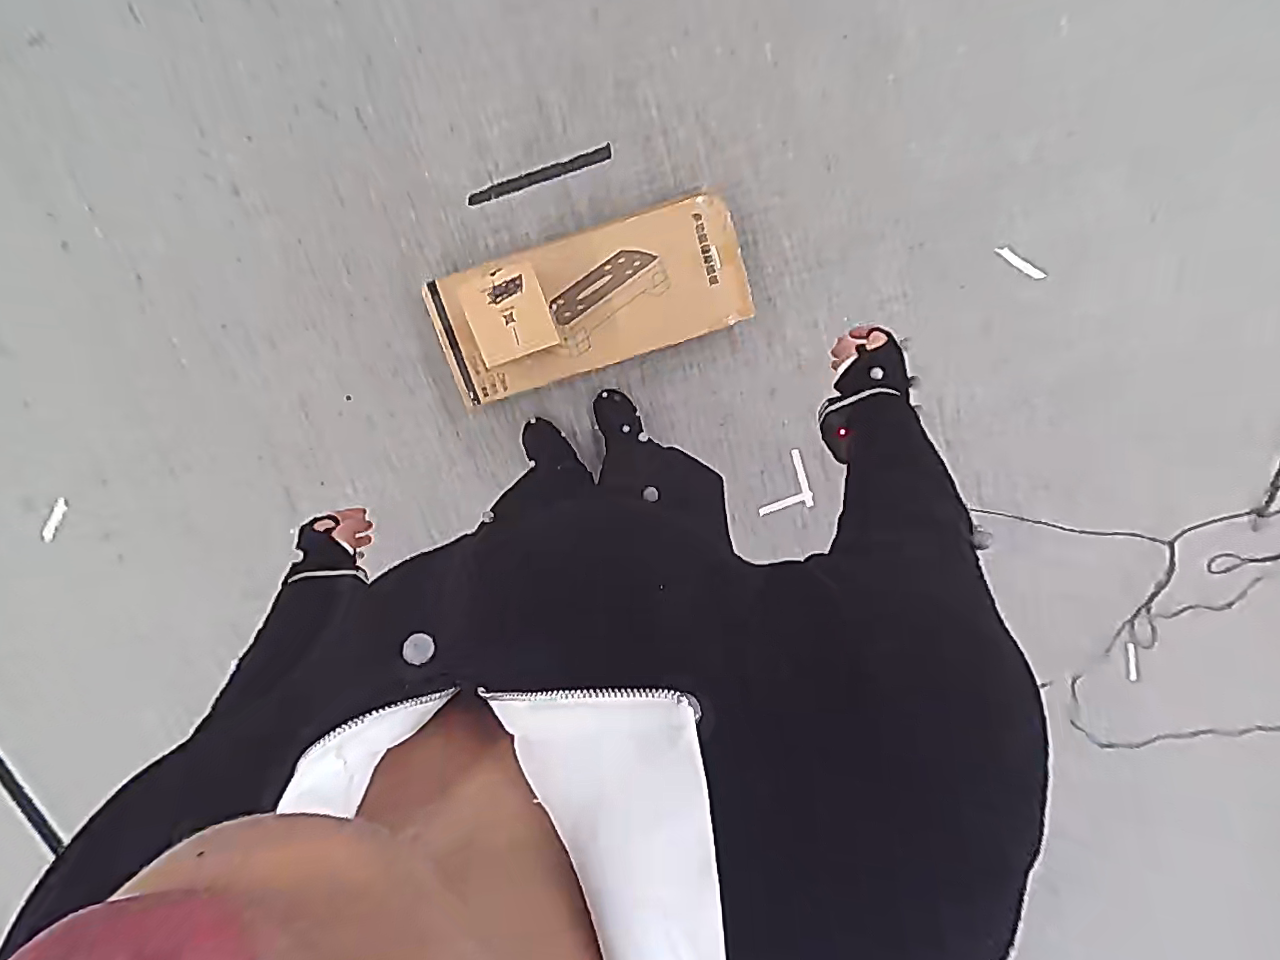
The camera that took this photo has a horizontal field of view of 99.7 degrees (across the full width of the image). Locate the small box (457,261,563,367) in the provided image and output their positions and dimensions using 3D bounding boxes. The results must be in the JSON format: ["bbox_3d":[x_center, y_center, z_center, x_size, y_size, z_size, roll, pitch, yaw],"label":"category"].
[{"bbox_3d":[-0.278,-0.358,1.194,0.168,0.176,0.179,-19,104,0],"label":"small box"}]
